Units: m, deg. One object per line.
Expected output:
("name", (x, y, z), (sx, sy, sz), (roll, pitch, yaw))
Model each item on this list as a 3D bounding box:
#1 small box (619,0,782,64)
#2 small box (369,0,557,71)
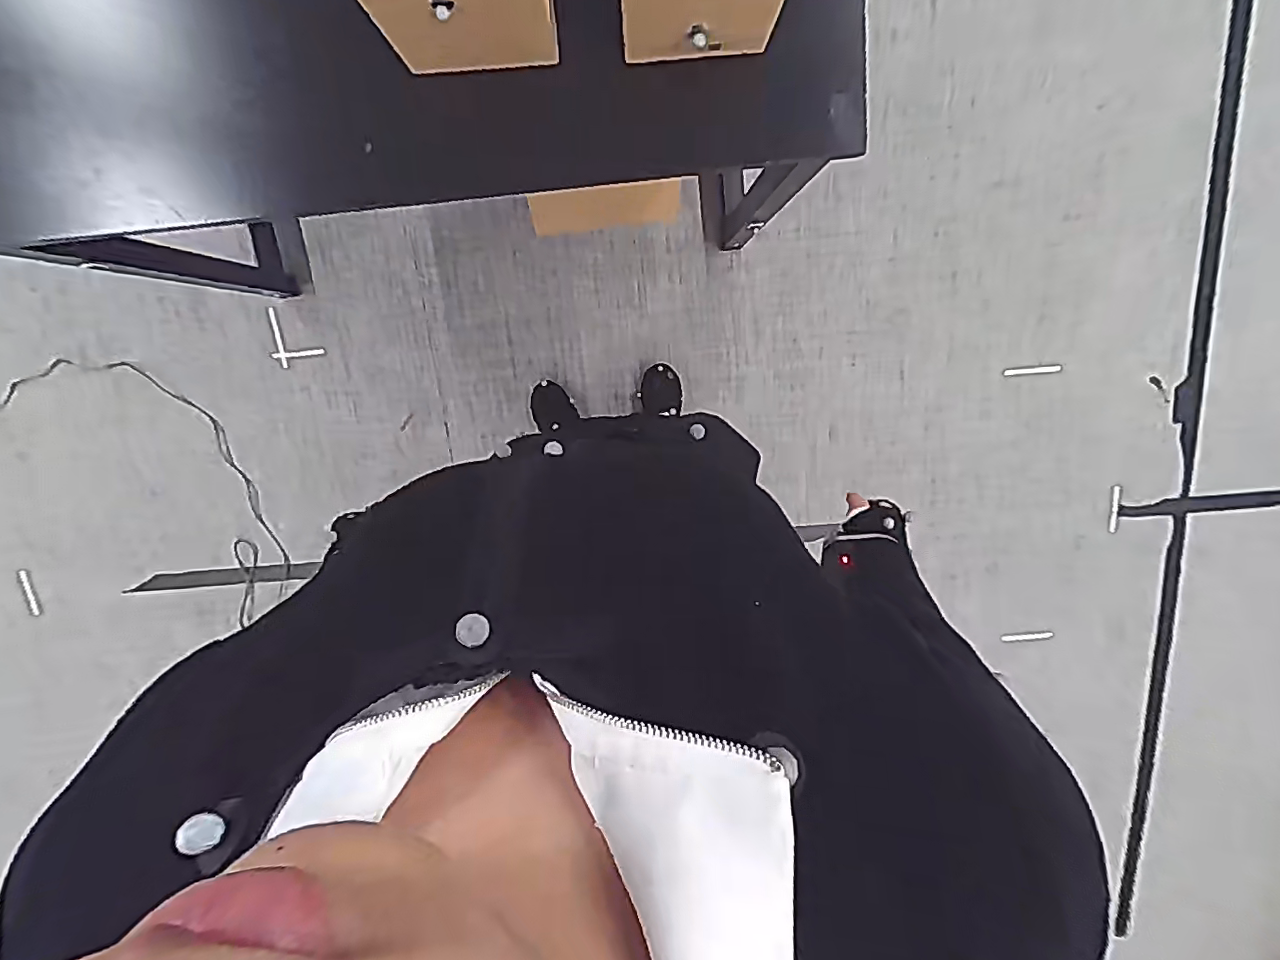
("small box", (0.058, -0.564, 0.543), (0.168, 0.176, 0.179), (-4, 102, 1))
("small box", (-0.187, -0.546, 0.543), (0.179, 0.176, 0.168), (-4, 103, -1))
